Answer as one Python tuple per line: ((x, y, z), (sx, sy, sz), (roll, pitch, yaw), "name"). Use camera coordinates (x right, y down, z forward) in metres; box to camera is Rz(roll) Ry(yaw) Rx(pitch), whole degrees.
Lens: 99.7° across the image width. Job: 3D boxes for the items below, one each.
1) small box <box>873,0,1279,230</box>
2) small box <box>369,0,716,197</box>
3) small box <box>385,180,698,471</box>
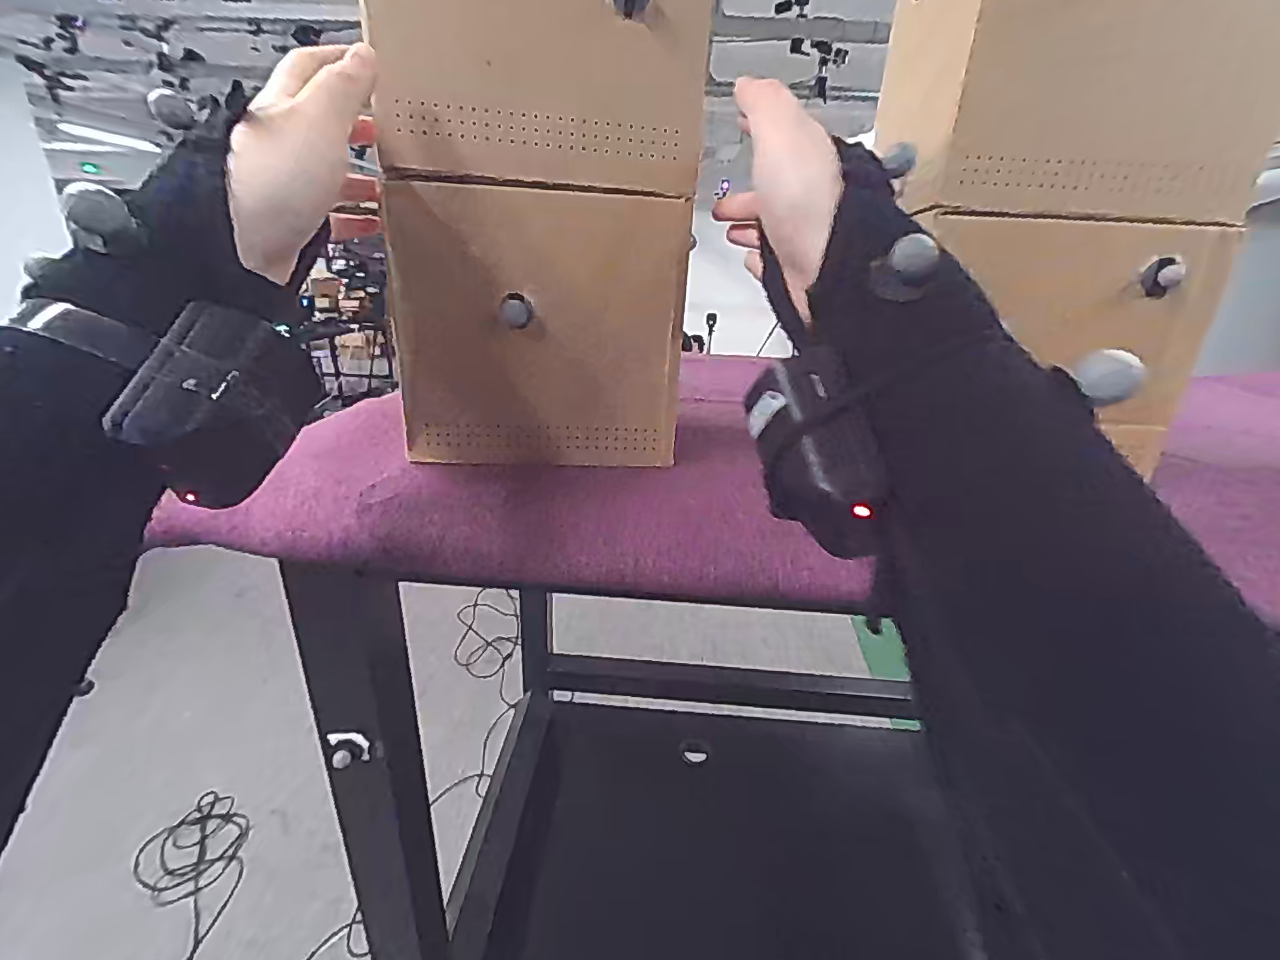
((0.273, -0.255, 0.363), (0.179, 0.176, 0.168), (6, 21, 3), "small box")
((-0.055, -0.264, 0.339), (0.179, 0.176, 0.168), (-1, 22, -9), "small box")
((-0.062, -0.111, 0.400), (0.179, 0.176, 0.168), (1, 23, -7), "small box")
